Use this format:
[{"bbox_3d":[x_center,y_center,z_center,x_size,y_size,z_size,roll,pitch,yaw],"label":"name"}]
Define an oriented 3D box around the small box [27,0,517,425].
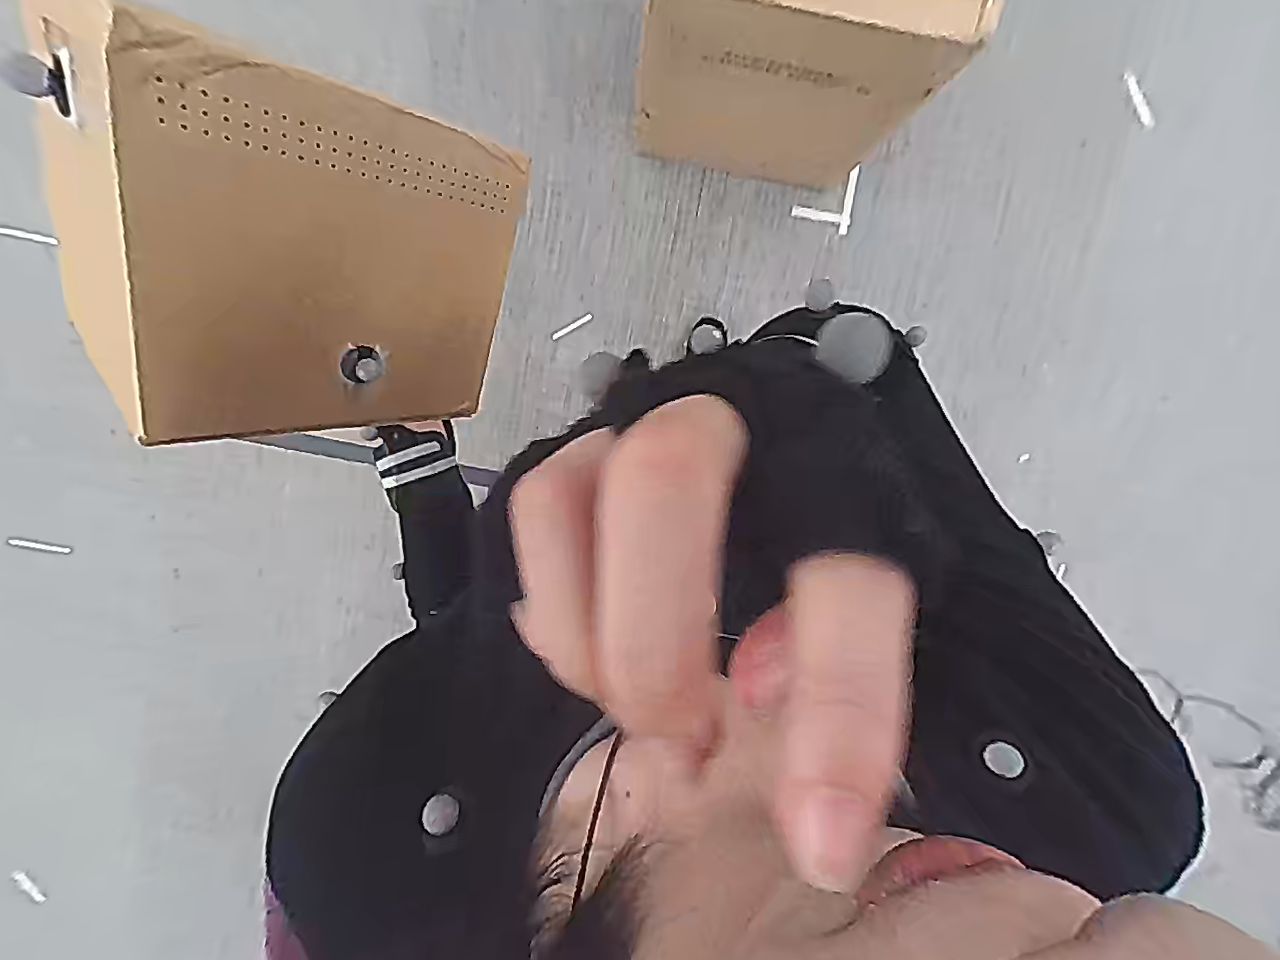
[{"bbox_3d":[-0.194,-0.149,0.305,0.168,0.179,0.176,37,120,29],"label":"small box"}]
